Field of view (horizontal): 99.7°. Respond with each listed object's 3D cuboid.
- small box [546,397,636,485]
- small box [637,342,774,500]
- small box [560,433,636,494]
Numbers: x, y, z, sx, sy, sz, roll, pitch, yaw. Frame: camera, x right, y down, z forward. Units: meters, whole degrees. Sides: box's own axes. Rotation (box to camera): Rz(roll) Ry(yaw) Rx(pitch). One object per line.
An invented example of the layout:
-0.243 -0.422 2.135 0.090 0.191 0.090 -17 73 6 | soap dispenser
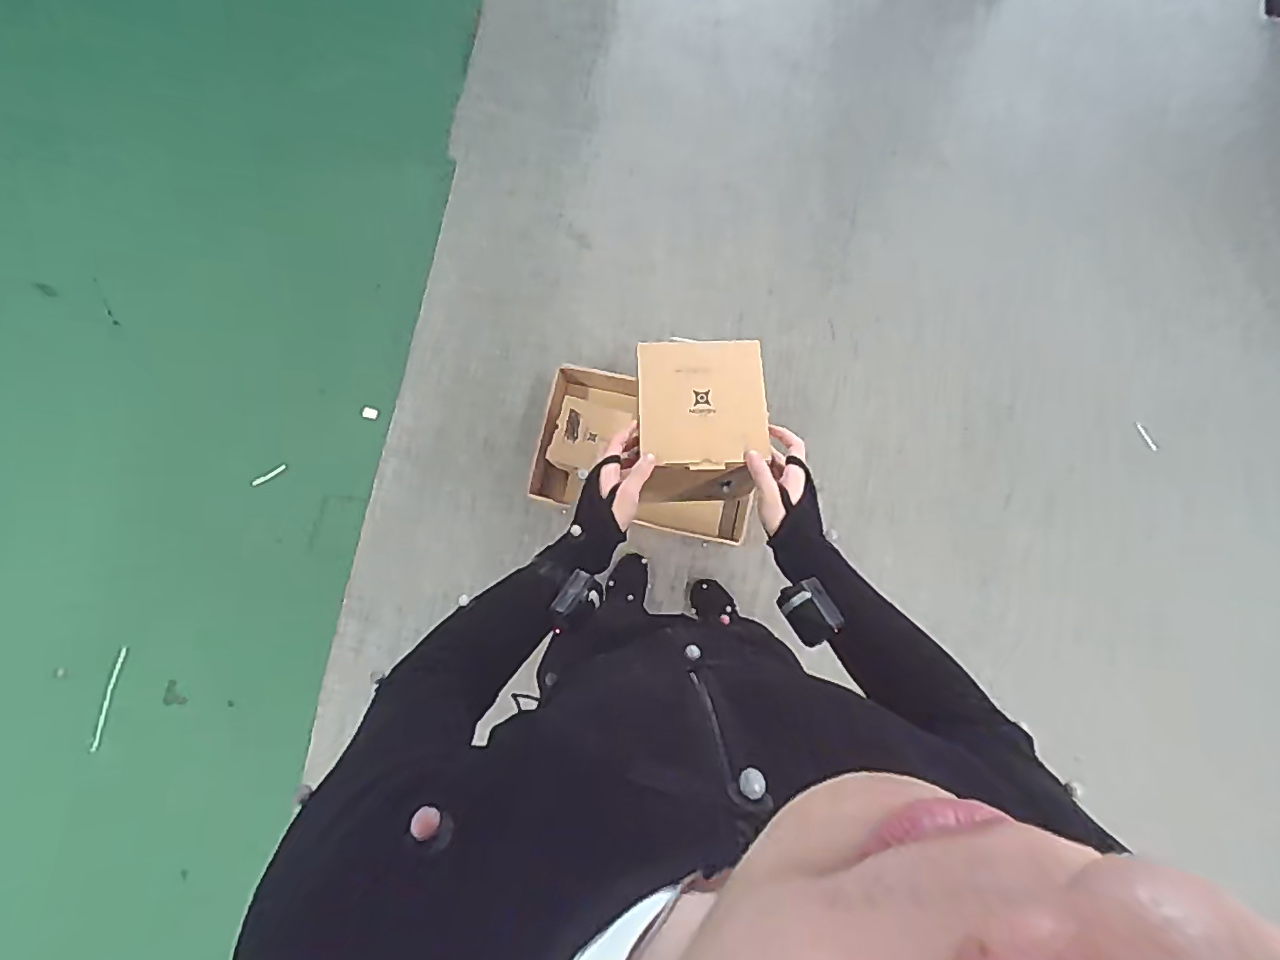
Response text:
-0.118 -0.093 1.379 0.179 0.176 0.168 16 84 4 | small box
0.081 -0.072 0.756 0.168 0.176 0.179 -1 72 -1 | small box
-0.114 -0.073 1.542 0.168 0.176 0.179 24 83 4 | small box
